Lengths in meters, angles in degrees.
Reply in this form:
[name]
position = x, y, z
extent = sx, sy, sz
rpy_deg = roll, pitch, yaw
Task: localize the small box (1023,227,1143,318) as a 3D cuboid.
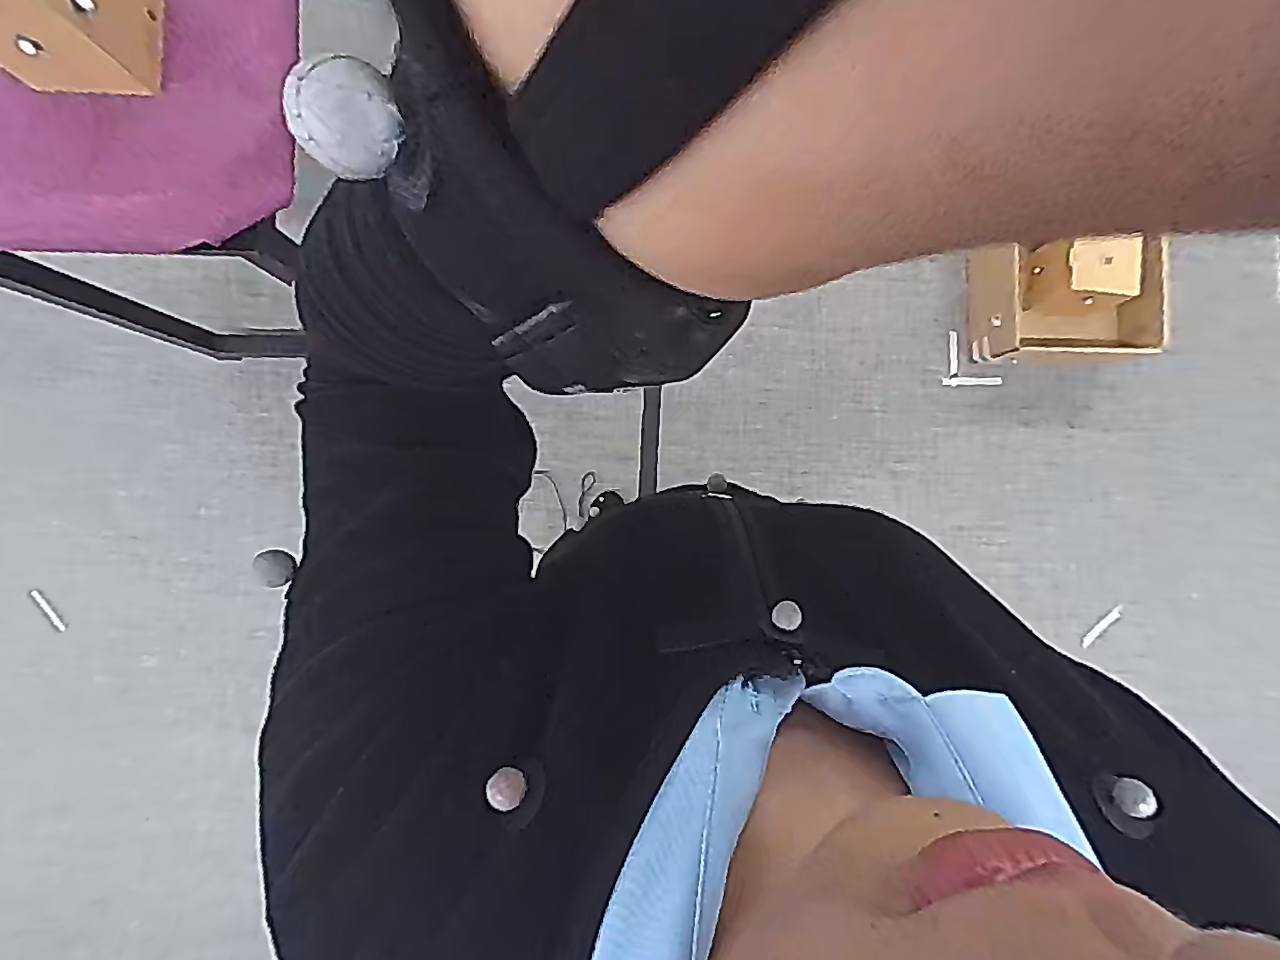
[small box]
position = 1.169, -0.542, 1.435
extent = 0.179, 0.176, 0.168
rpy_deg = 6, 88, -1
